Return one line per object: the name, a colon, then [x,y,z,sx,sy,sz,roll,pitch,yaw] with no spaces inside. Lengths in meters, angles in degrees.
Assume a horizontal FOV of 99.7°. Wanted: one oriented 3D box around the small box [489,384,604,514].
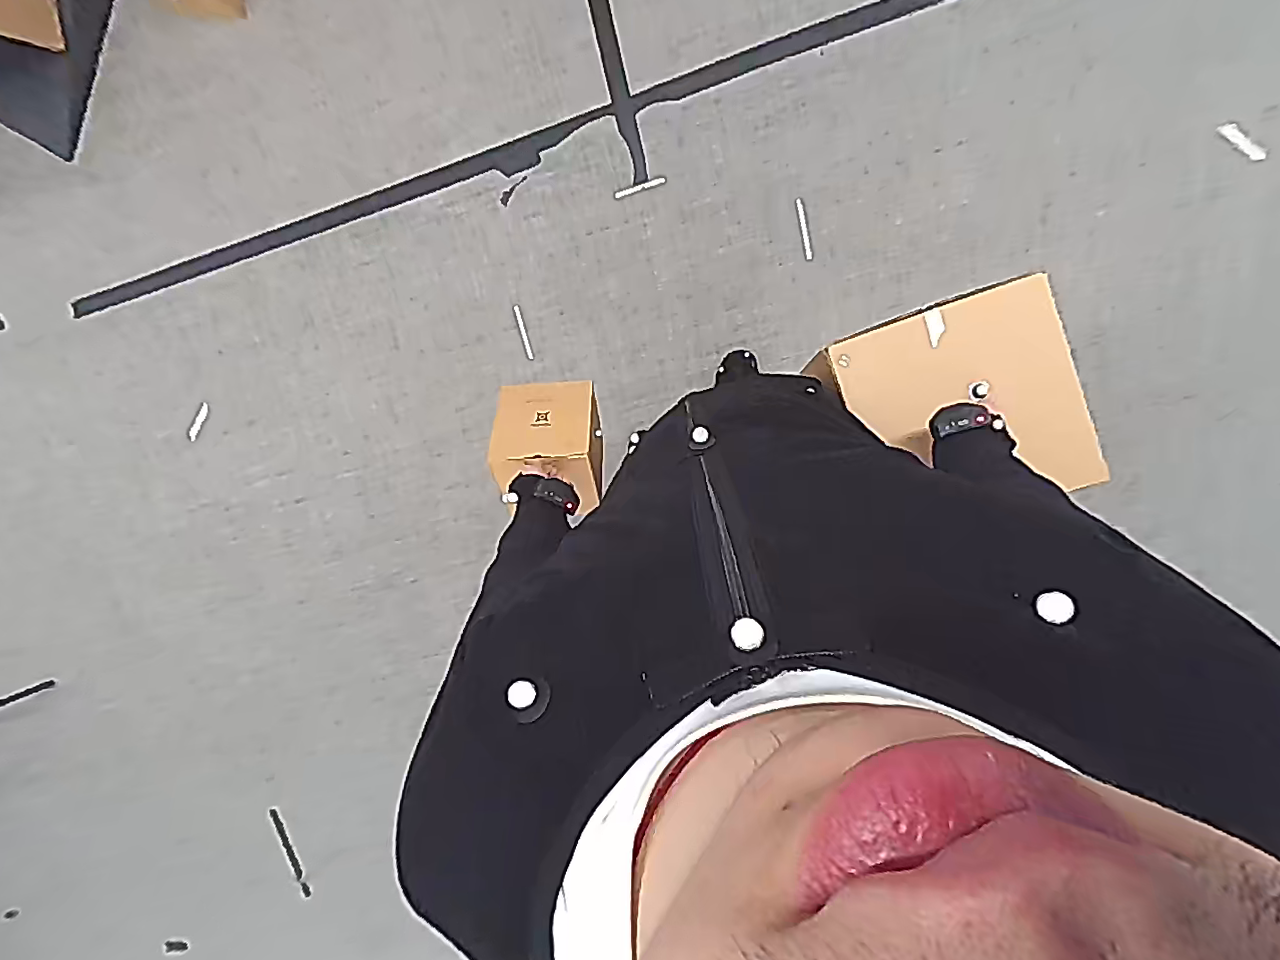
small box: [-0.157,-0.049,0.975,0.168,0.179,0.176,-3,142,2]
